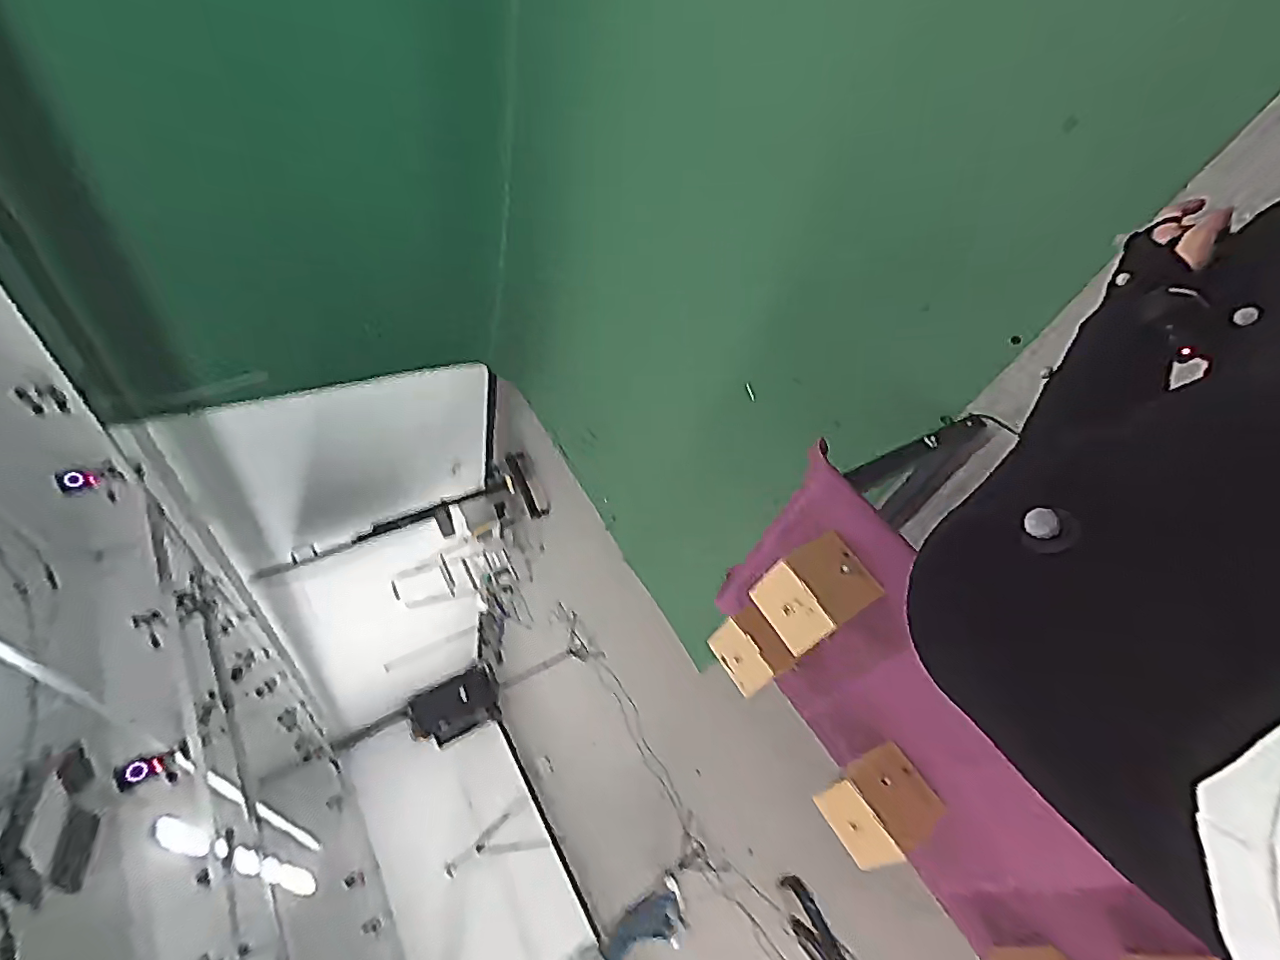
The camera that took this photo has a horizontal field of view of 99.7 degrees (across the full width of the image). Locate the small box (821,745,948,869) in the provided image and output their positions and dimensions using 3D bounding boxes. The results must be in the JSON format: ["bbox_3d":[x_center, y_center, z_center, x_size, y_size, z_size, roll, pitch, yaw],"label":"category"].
[{"bbox_3d":[0.552,0.728,1.214,0.168,0.176,0.179,54,146,28],"label":"small box"}]

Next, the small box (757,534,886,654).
[{"bbox_3d":[0.396,0.247,1.184,0.168,0.176,0.179,54,147,24],"label":"small box"}]

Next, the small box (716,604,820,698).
[{"bbox_3d":[0.333,0.422,1.394,0.168,0.176,0.179,54,145,27],"label":"small box"}]

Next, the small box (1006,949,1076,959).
[{"bbox_3d":[0.776,1.026,1.012,0.168,0.176,0.179,53,146,29],"label":"small box"}]
